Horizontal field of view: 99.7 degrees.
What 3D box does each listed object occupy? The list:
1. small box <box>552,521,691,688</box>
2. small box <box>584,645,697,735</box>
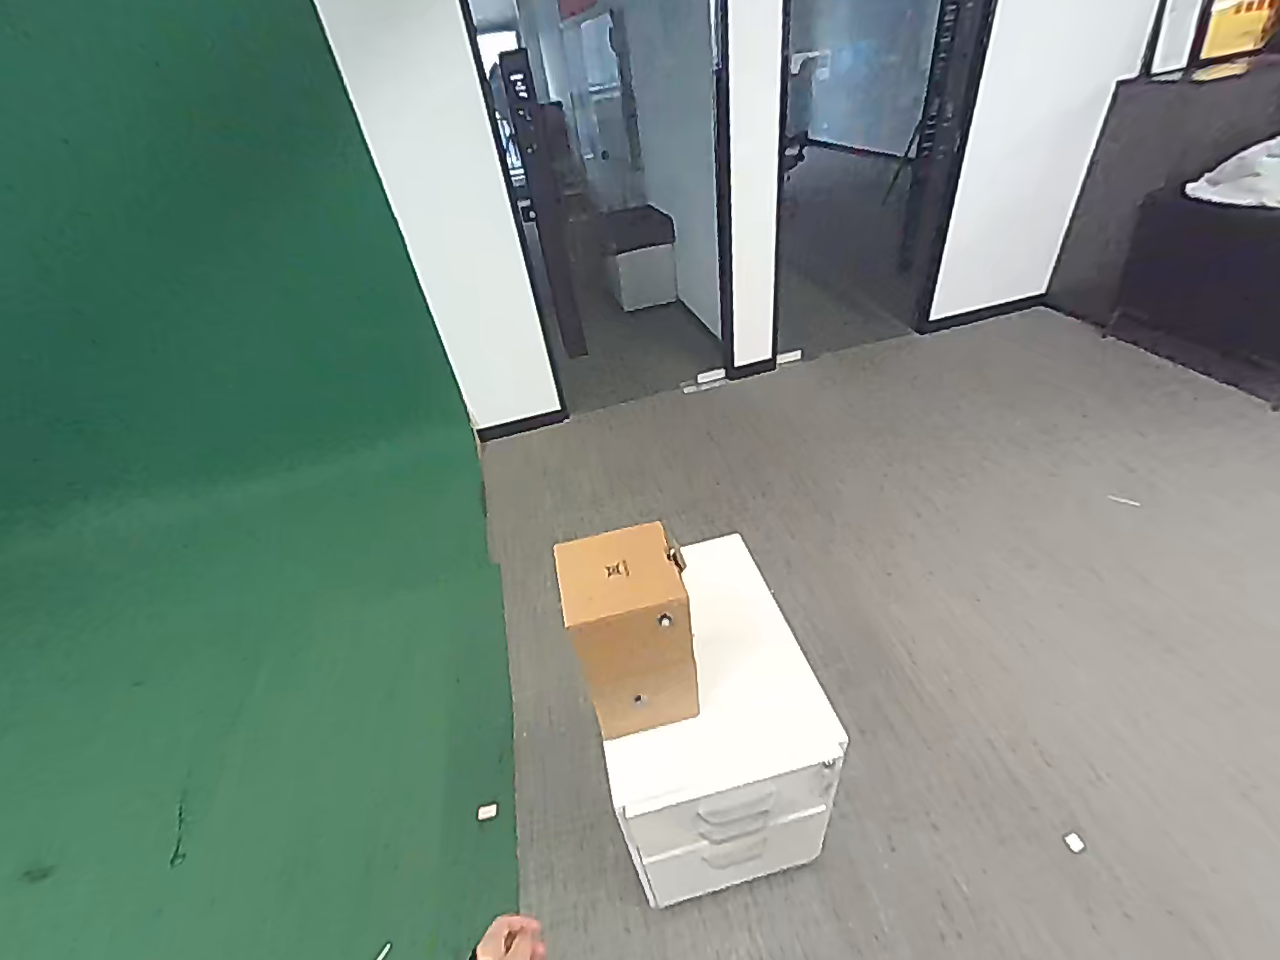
[{"bbox_3d":[-0.028,0.194,0.837,0.179,0.176,0.168,-12,38,-7],"label":"small box"},{"bbox_3d":[-0.007,0.316,0.944,0.179,0.176,0.168,-13,39,-6],"label":"small box"}]
